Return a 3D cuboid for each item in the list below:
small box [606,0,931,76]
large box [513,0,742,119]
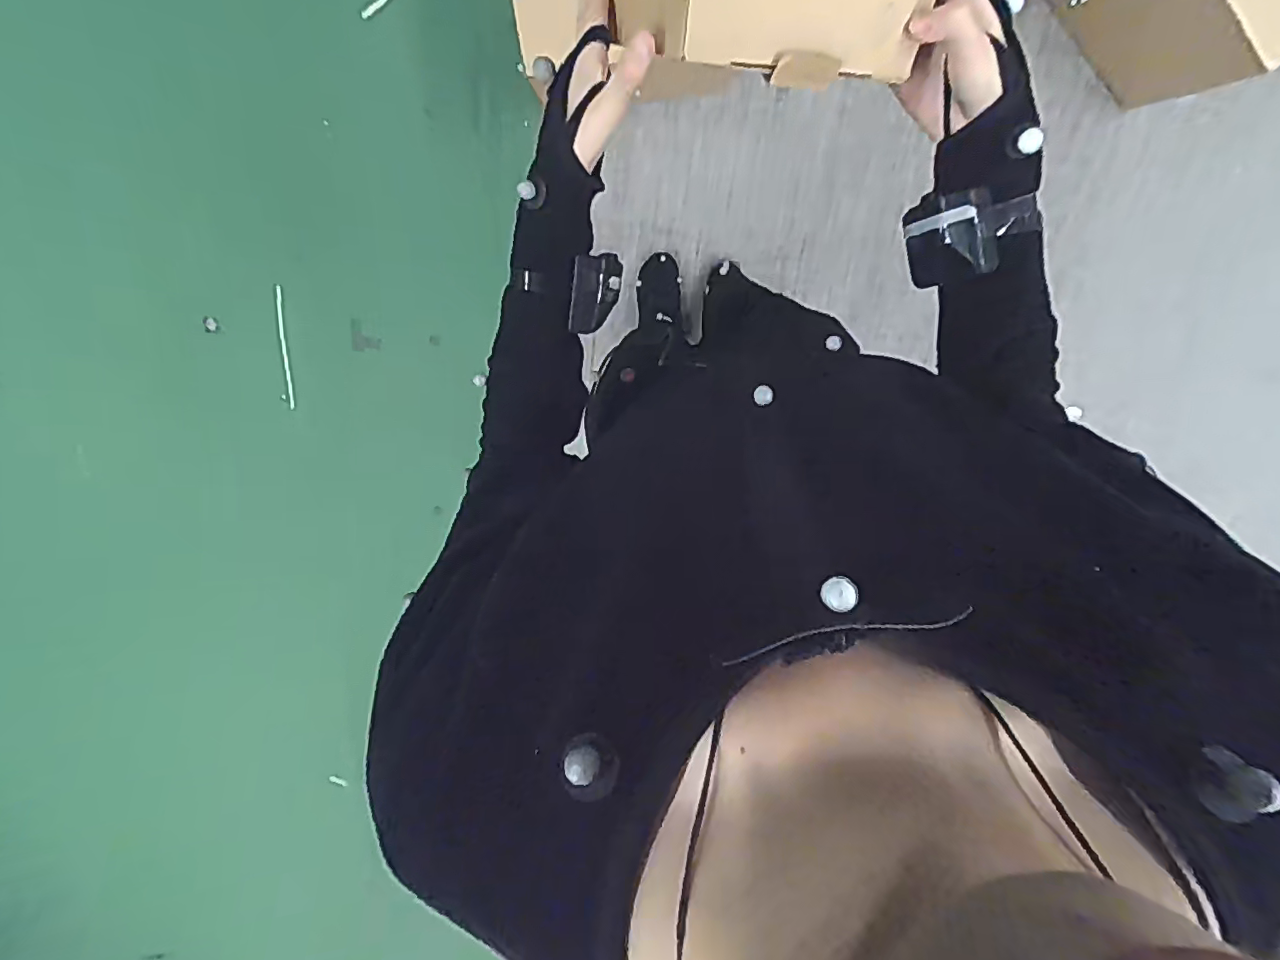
[{"bbox_3d":[0.077,-0.367,0.324,0.168,0.176,0.179,-9,132,-19],"label":"small box"},{"bbox_3d":[-0.022,-0.924,1.024,0.408,0.320,0.320,-7,112,3],"label":"large box"}]
